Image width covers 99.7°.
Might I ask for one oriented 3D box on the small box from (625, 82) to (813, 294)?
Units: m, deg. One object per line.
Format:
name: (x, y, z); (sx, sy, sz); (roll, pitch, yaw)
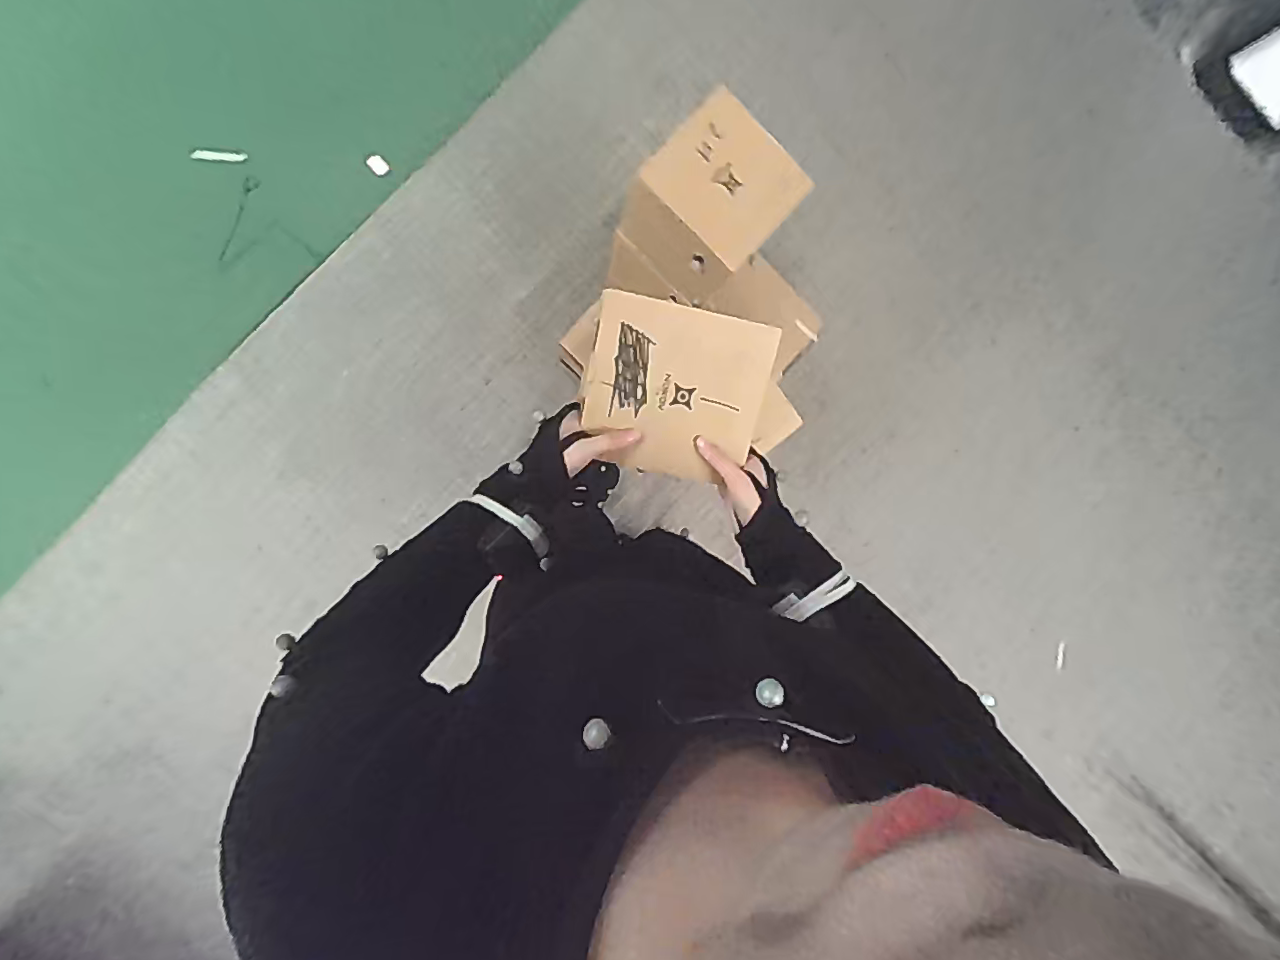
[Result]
small box: (0.100, -0.388, 0.763); (0.179, 0.176, 0.168); (44, 85, -7)

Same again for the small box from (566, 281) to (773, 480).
small box: (0.024, -0.114, 0.601); (0.179, 0.176, 0.168); (10, 107, -5)

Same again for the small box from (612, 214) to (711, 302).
small box: (0.068, -0.396, 0.925); (0.179, 0.176, 0.168); (42, 85, -8)
